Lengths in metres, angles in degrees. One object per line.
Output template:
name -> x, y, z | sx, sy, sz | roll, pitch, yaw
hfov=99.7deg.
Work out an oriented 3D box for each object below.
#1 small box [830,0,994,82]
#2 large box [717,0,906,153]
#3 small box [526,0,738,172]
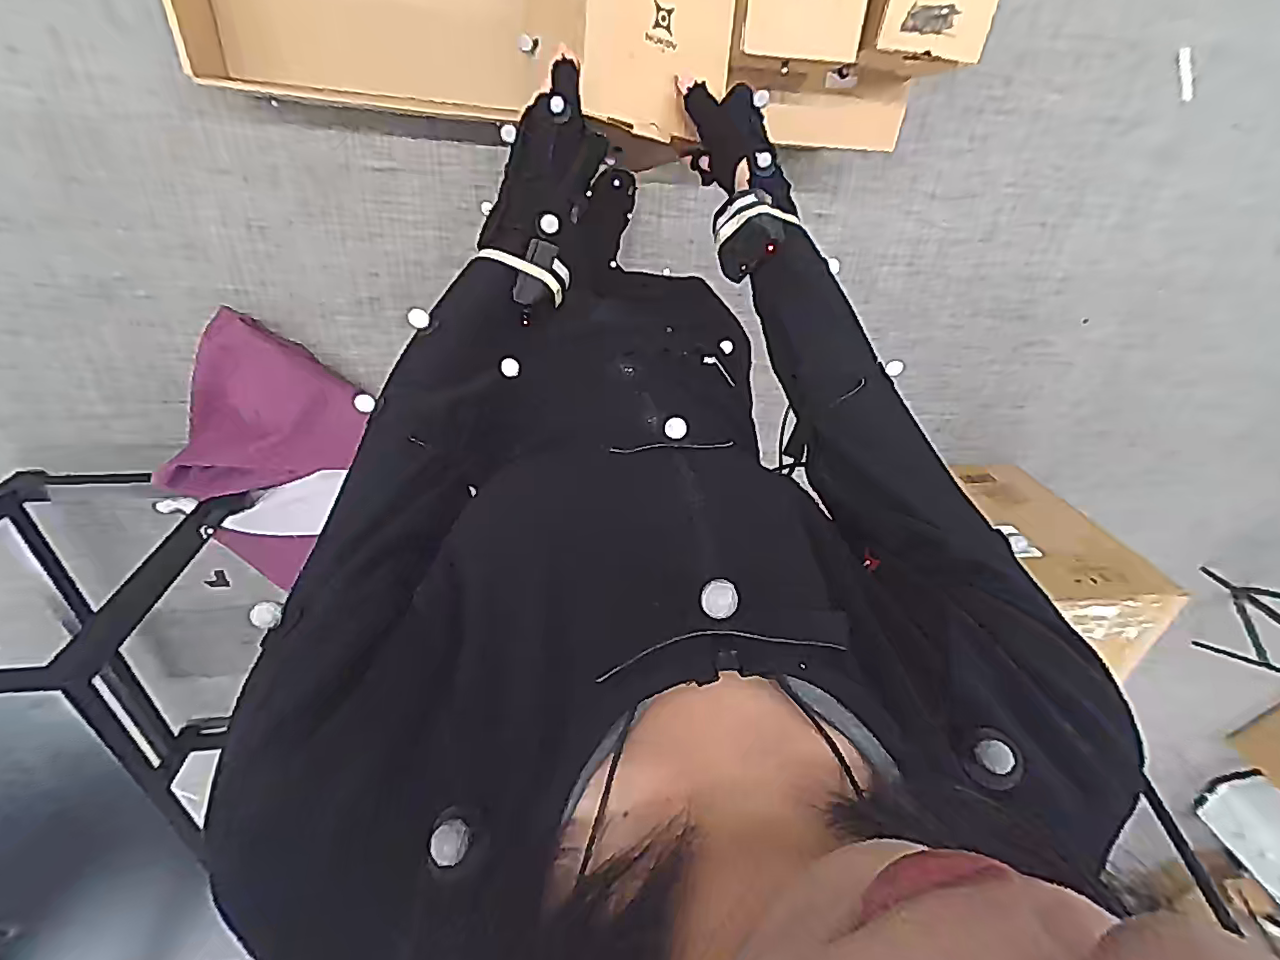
small box -> 0.414, -0.730, 0.824 | 0.168, 0.176, 0.179 | 2, 120, -10
large box -> 0.257, -0.817, 1.035 | 0.408, 0.320, 0.320 | -2, 123, -9
small box -> -0.018, -0.454, 0.588 | 0.168, 0.176, 0.179 | -4, 110, -30
